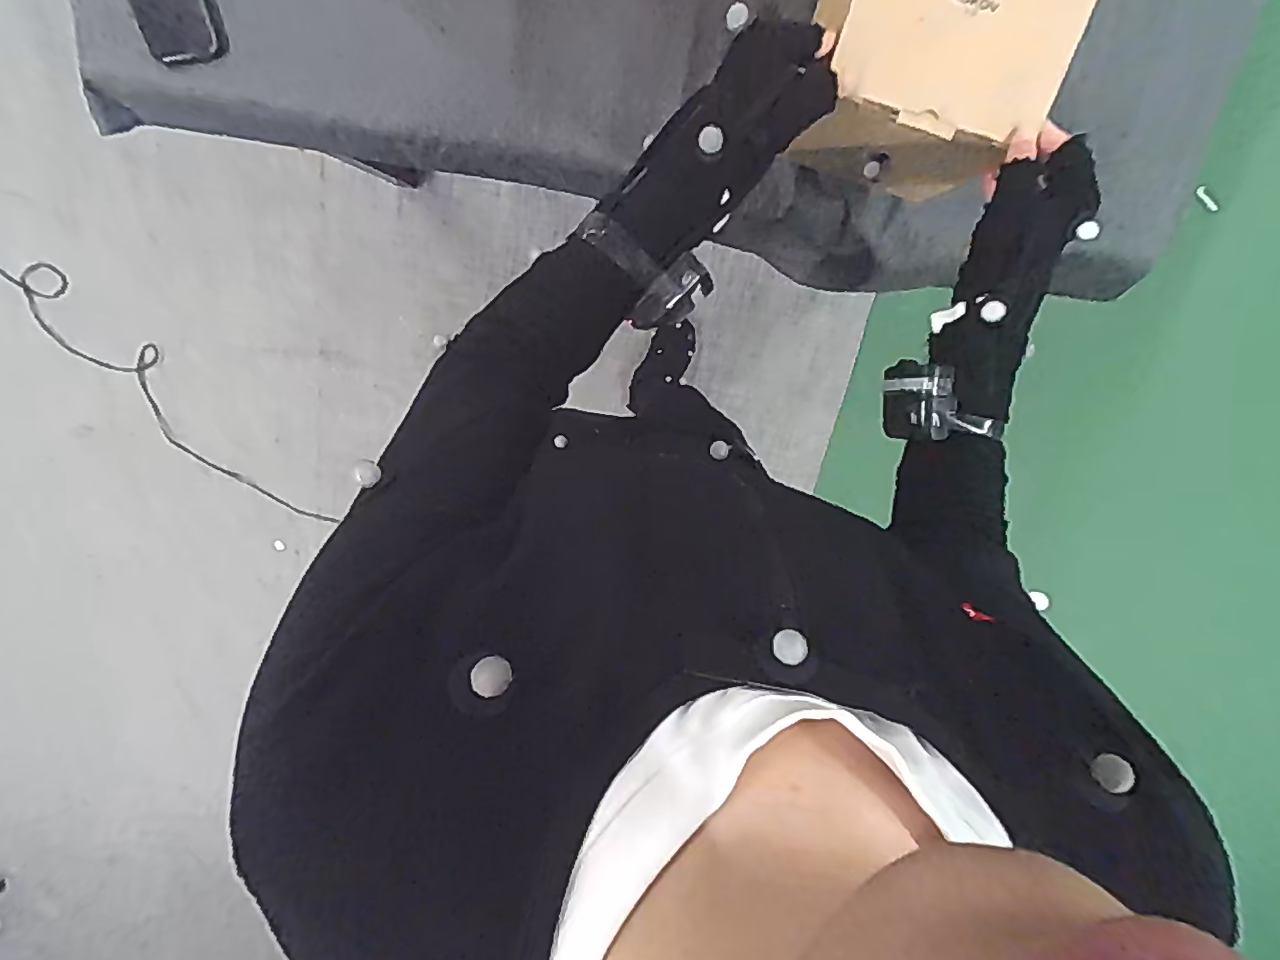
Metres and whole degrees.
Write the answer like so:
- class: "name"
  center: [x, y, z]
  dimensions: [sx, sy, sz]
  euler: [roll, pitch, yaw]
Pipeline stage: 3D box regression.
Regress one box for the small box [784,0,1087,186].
- class: "small box"
  center: [0.238, -0.376, 0.460]
  dimensions: [0.168, 0.176, 0.179]
  euler: [15, 107, -4]
